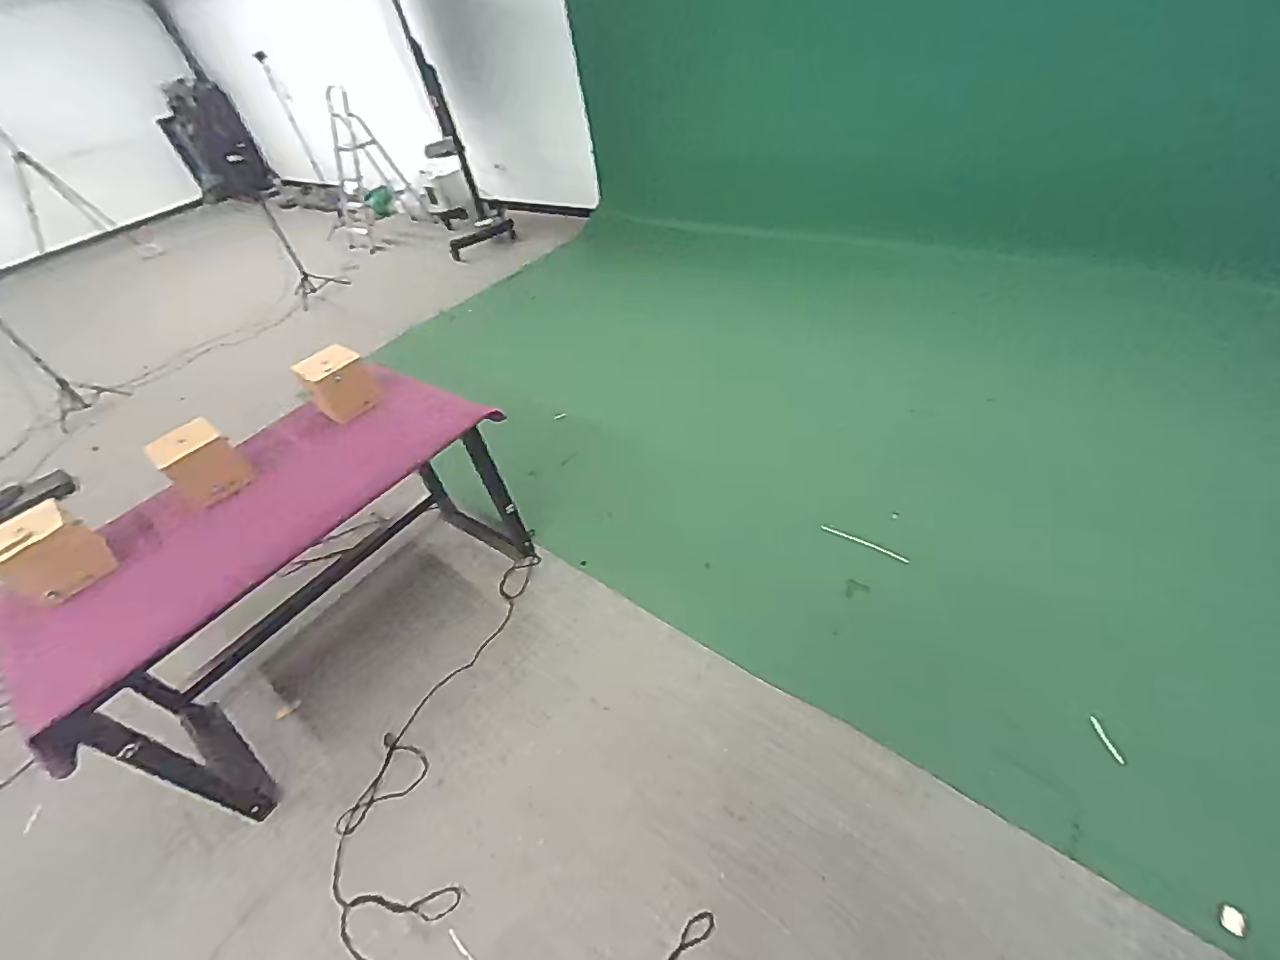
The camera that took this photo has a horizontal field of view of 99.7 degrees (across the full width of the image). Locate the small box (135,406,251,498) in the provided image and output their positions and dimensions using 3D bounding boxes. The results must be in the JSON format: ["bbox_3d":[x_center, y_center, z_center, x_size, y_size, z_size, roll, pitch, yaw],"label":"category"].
[{"bbox_3d":[-1.257,-0.076,1.529,0.179,0.176,0.168,28,57,32],"label":"small box"}]

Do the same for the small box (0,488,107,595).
[{"bbox_3d":[-1.481,0.156,1.332,0.179,0.176,0.168,26,55,31],"label":"small box"}]

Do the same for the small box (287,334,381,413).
[{"bbox_3d":[-0.979,-0.340,1.737,0.179,0.176,0.168,26,56,32],"label":"small box"}]
